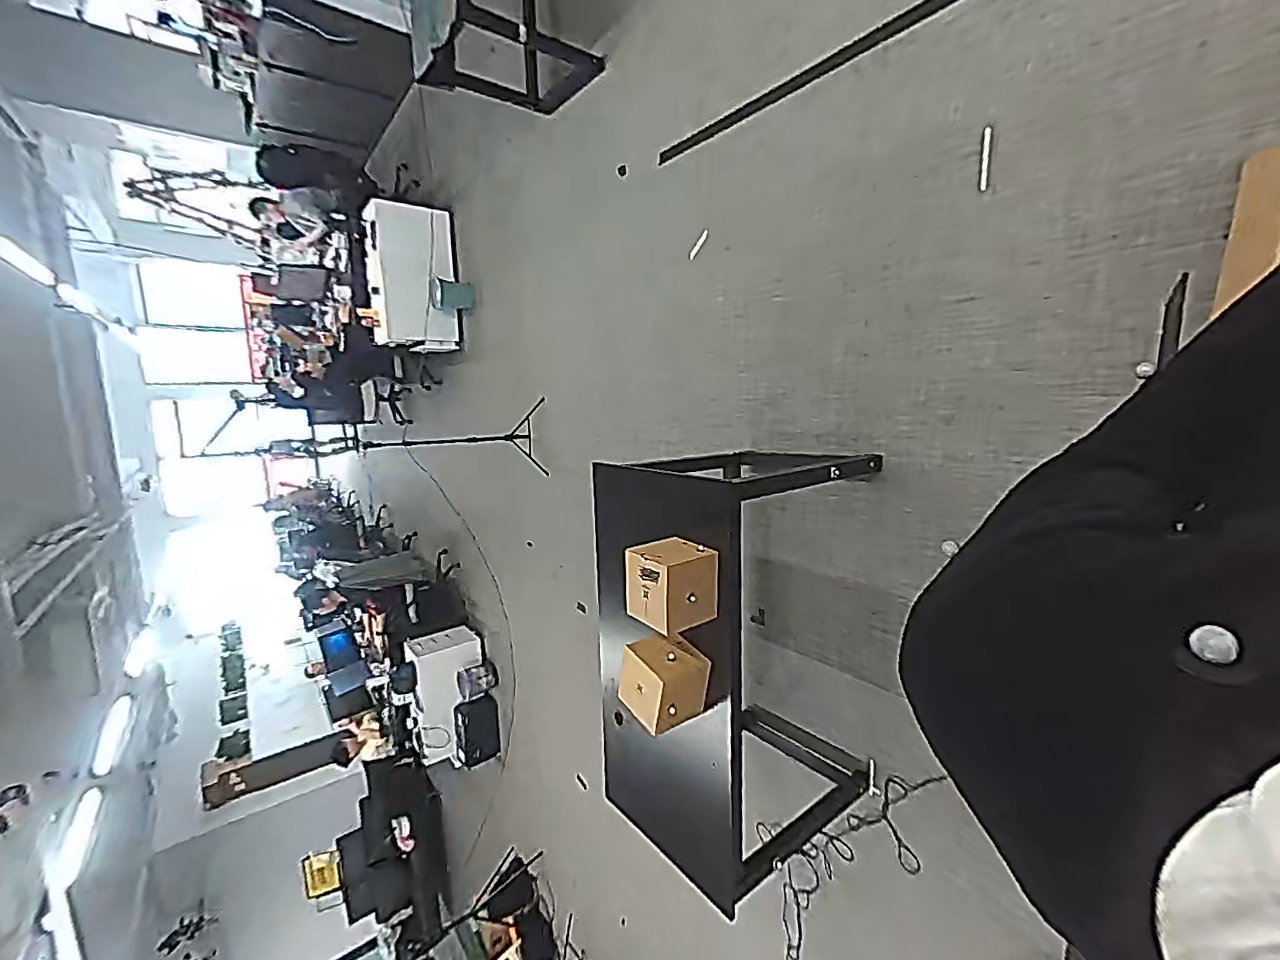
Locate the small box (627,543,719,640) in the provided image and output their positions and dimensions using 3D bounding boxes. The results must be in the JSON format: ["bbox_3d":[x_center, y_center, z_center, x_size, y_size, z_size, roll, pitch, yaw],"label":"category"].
[{"bbox_3d":[0.084,0.268,1.355,0.168,0.176,0.179,14,109,52],"label":"small box"}]

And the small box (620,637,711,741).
[{"bbox_3d":[0.068,0.538,1.430,0.168,0.176,0.179,30,120,48],"label":"small box"}]
